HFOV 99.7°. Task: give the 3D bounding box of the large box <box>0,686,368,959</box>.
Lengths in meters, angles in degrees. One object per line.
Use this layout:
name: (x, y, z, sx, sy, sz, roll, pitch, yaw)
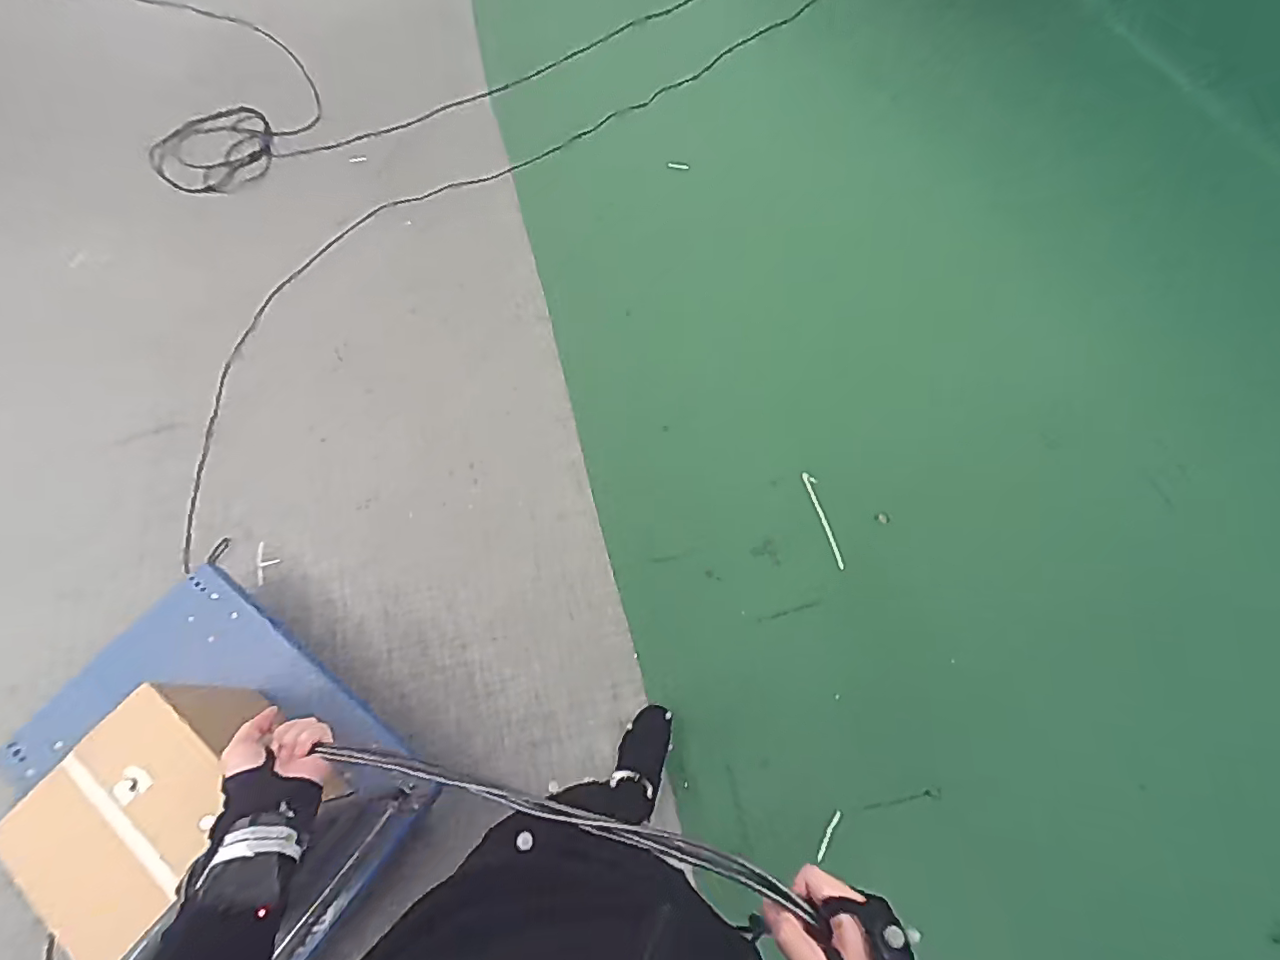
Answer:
large box: (-0.835, 0.658, 1.043, 0.408, 0.320, 0.320, 33, 70, 15)
